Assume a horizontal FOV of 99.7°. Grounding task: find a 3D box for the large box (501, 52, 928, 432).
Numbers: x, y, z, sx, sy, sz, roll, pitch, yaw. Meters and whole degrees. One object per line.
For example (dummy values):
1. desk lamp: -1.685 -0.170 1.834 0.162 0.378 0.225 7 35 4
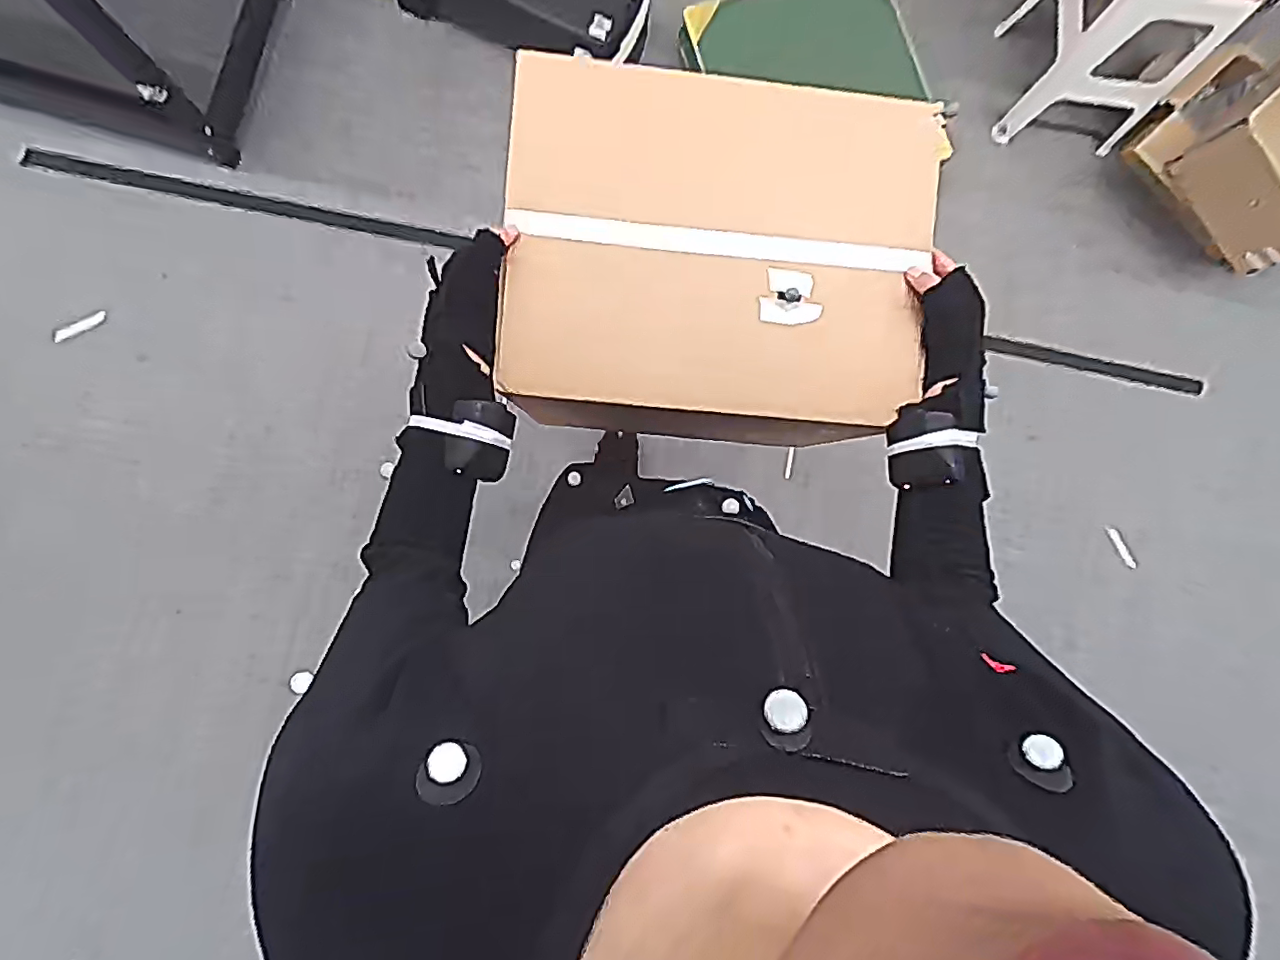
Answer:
1. large box: 0.064 -0.237 0.668 0.408 0.320 0.320 5 92 -4
